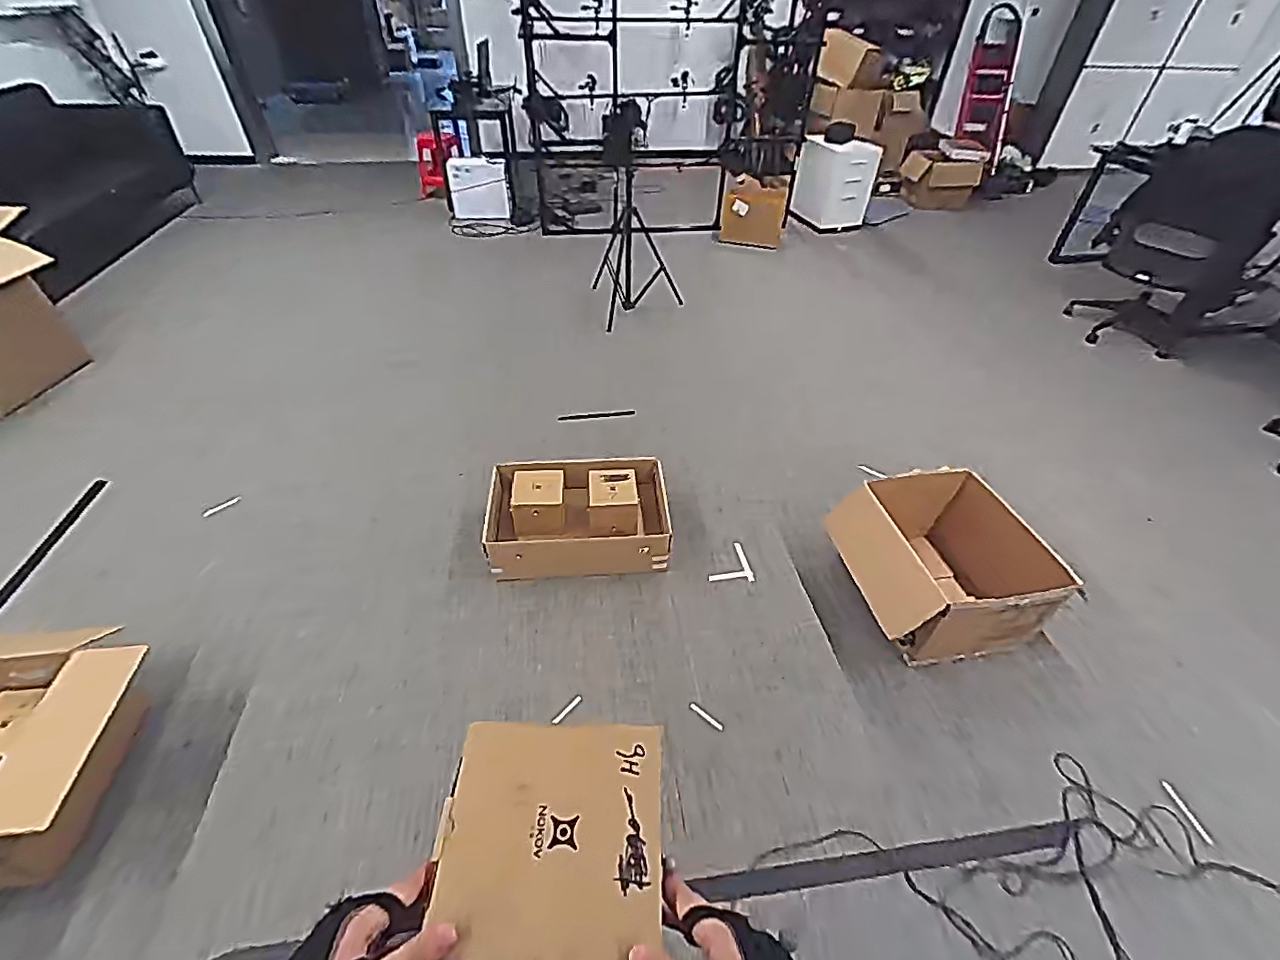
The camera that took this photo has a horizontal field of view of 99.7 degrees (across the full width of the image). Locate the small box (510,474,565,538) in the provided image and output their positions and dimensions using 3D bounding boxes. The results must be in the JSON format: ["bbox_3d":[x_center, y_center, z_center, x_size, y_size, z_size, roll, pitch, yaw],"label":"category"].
[{"bbox_3d":[-0.364,0.095,1.944,0.179,0.176,0.168,-1,45,-6],"label":"small box"}]

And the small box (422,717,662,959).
[{"bbox_3d":[-0.070,0.335,0.499,0.179,0.176,0.168,2,47,-1],"label":"small box"}]
